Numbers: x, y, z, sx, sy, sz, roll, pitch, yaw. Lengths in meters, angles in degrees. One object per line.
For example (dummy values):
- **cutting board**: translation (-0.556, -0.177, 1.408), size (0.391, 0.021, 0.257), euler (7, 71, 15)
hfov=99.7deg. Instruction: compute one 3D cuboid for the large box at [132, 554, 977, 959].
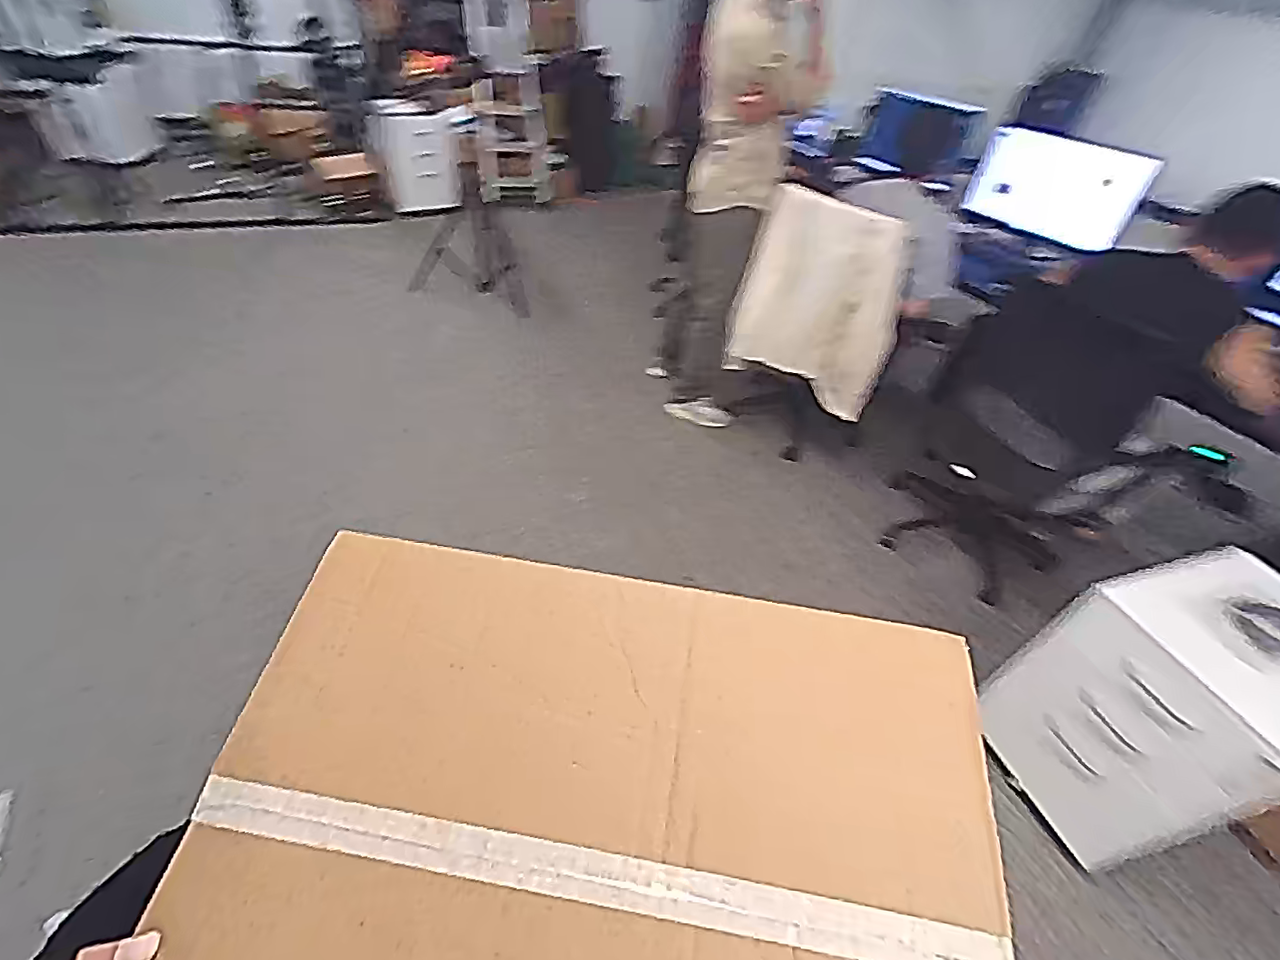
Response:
- **large box**: translation (-0.037, 0.279, 0.400), size (0.408, 0.320, 0.320), euler (8, 59, 4)
